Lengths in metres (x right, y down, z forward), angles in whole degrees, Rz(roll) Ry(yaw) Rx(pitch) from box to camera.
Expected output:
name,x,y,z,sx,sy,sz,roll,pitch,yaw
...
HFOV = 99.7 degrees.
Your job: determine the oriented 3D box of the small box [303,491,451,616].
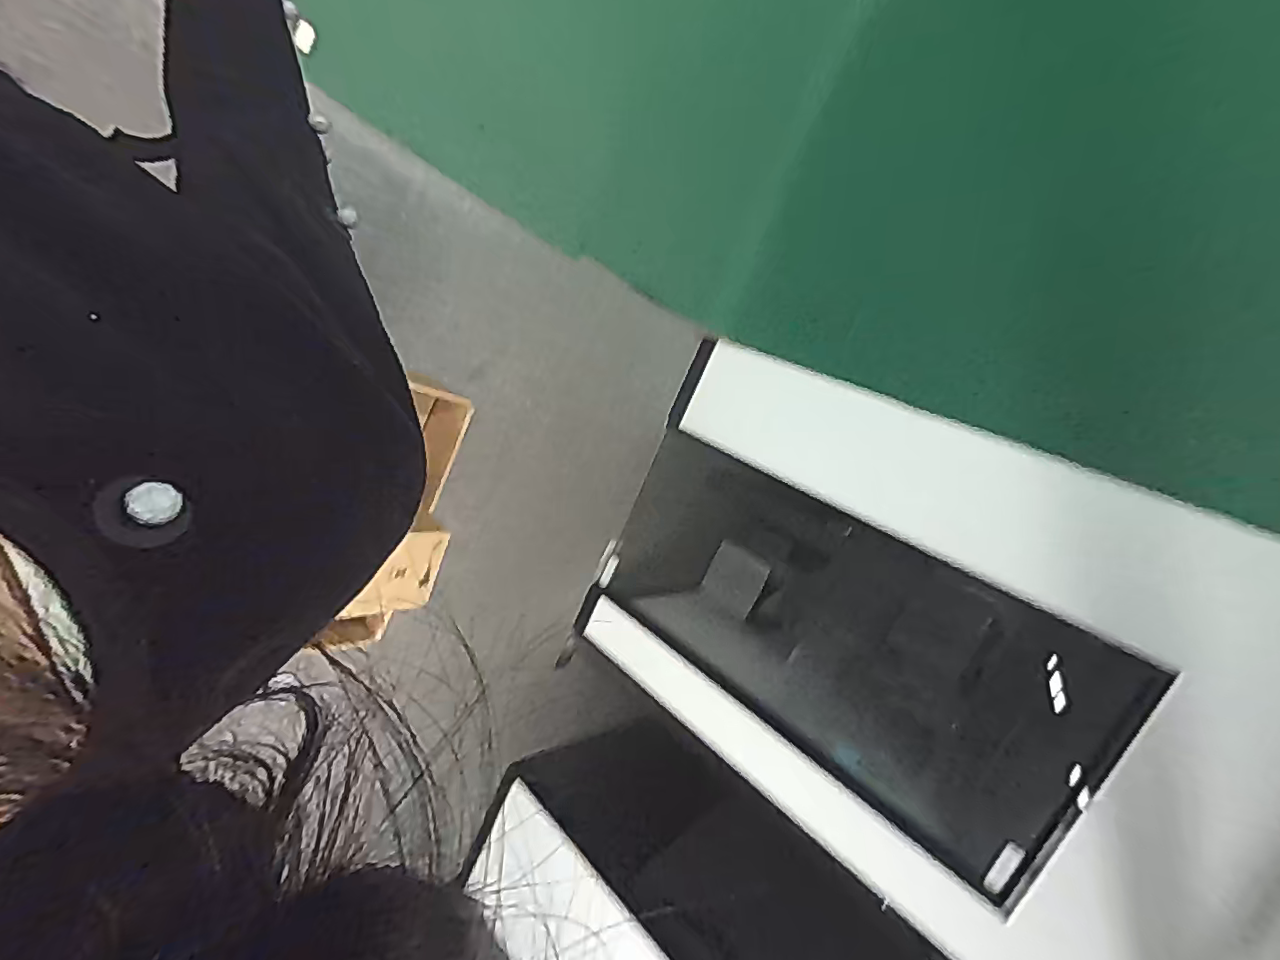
name,x,y,z,sx,sy,sz,roll,pitch,yaw
small box,-0.493,0.130,1.006,0.179,0.176,0.168,8,109,-54
